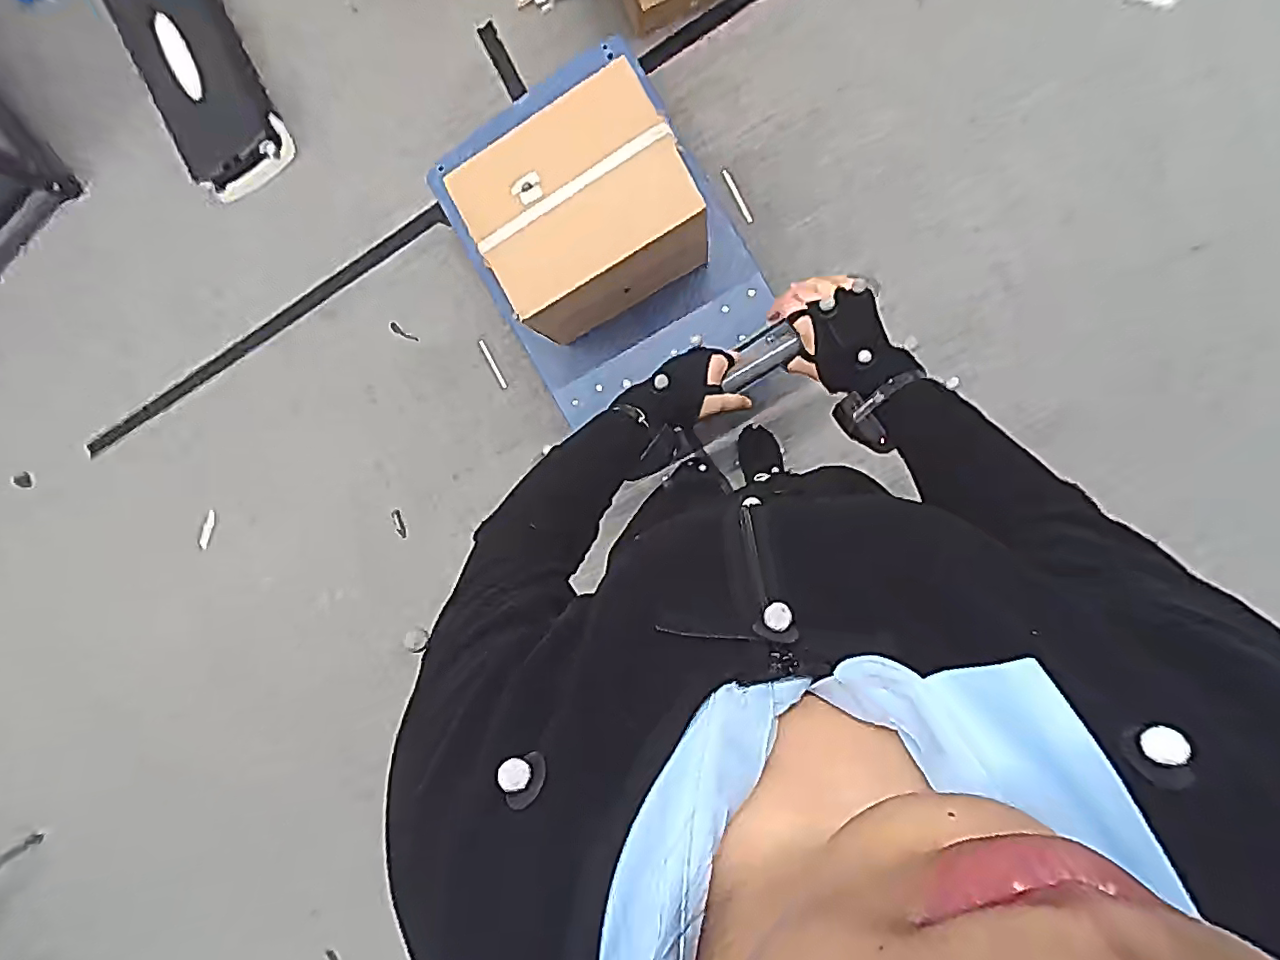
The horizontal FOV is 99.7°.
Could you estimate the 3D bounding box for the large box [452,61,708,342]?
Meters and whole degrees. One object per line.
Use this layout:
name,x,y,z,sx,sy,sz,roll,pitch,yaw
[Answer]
large box,-0.102,-0.549,1.158,0.408,0.320,0.320,-29,90,10
